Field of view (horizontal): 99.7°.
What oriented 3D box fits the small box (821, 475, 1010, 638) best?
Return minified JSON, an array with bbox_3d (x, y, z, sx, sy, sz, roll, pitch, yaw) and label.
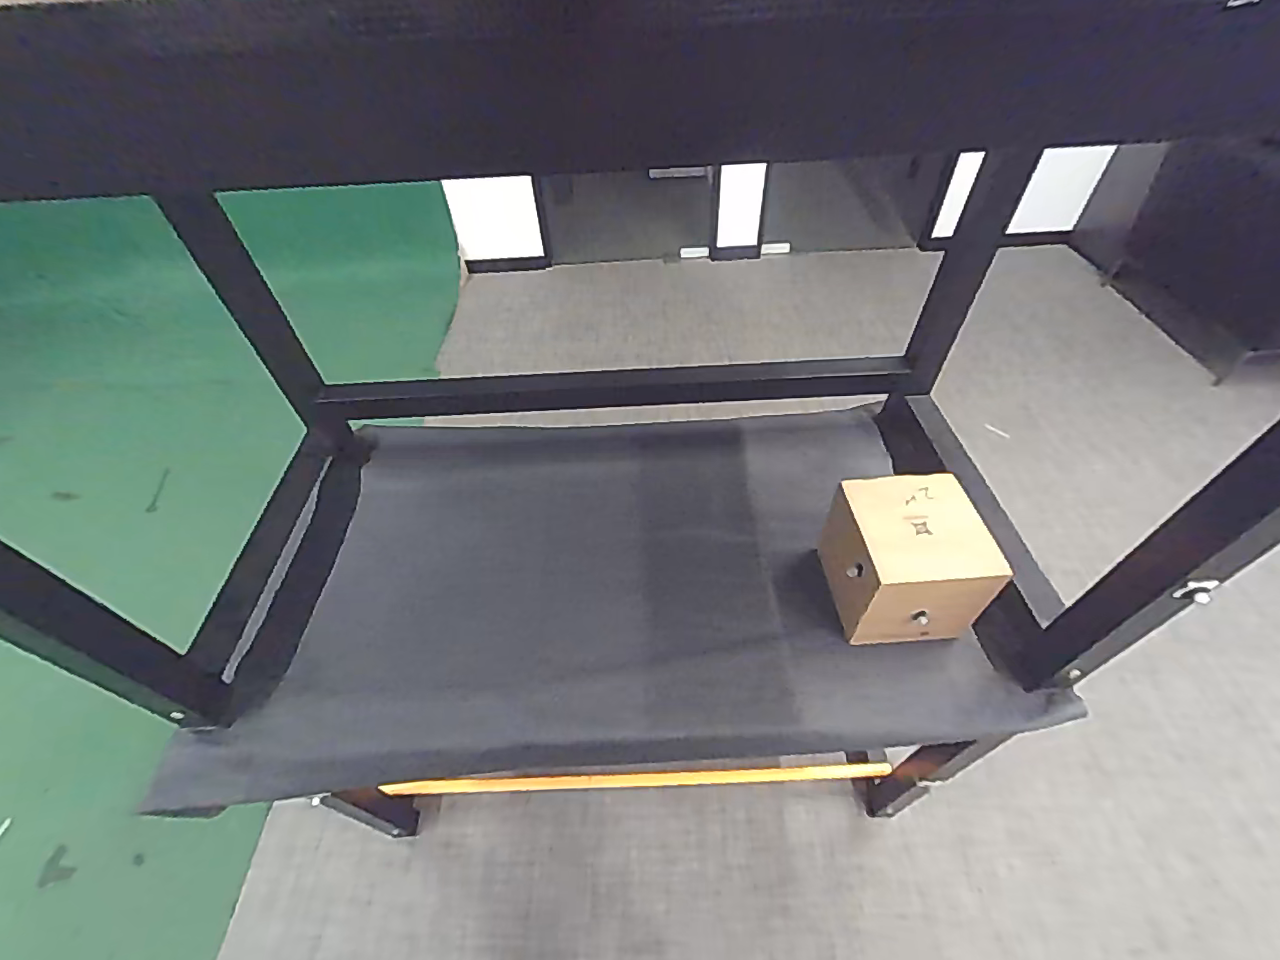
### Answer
[{"bbox_3d":[0.378,0.117,0.781,0.168,0.176,0.179,-4,47,-1],"label":"small box"}]
